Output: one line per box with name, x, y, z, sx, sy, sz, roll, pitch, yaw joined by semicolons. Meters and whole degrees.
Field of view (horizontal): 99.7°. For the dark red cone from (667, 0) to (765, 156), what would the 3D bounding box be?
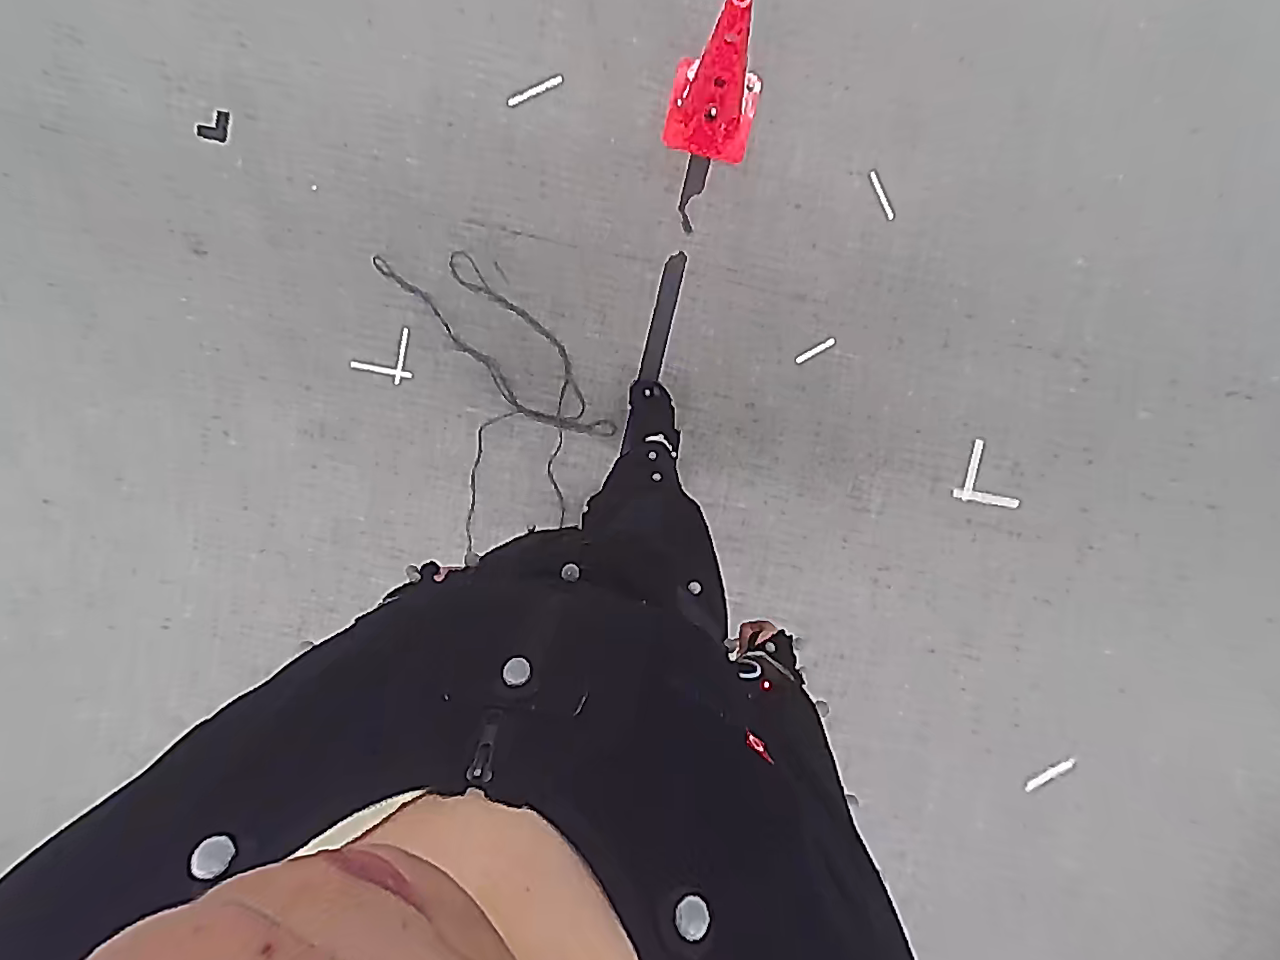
dark red cone;0.171;-0.842;1.075;0.201;0.394;0.202;12;96;-1
